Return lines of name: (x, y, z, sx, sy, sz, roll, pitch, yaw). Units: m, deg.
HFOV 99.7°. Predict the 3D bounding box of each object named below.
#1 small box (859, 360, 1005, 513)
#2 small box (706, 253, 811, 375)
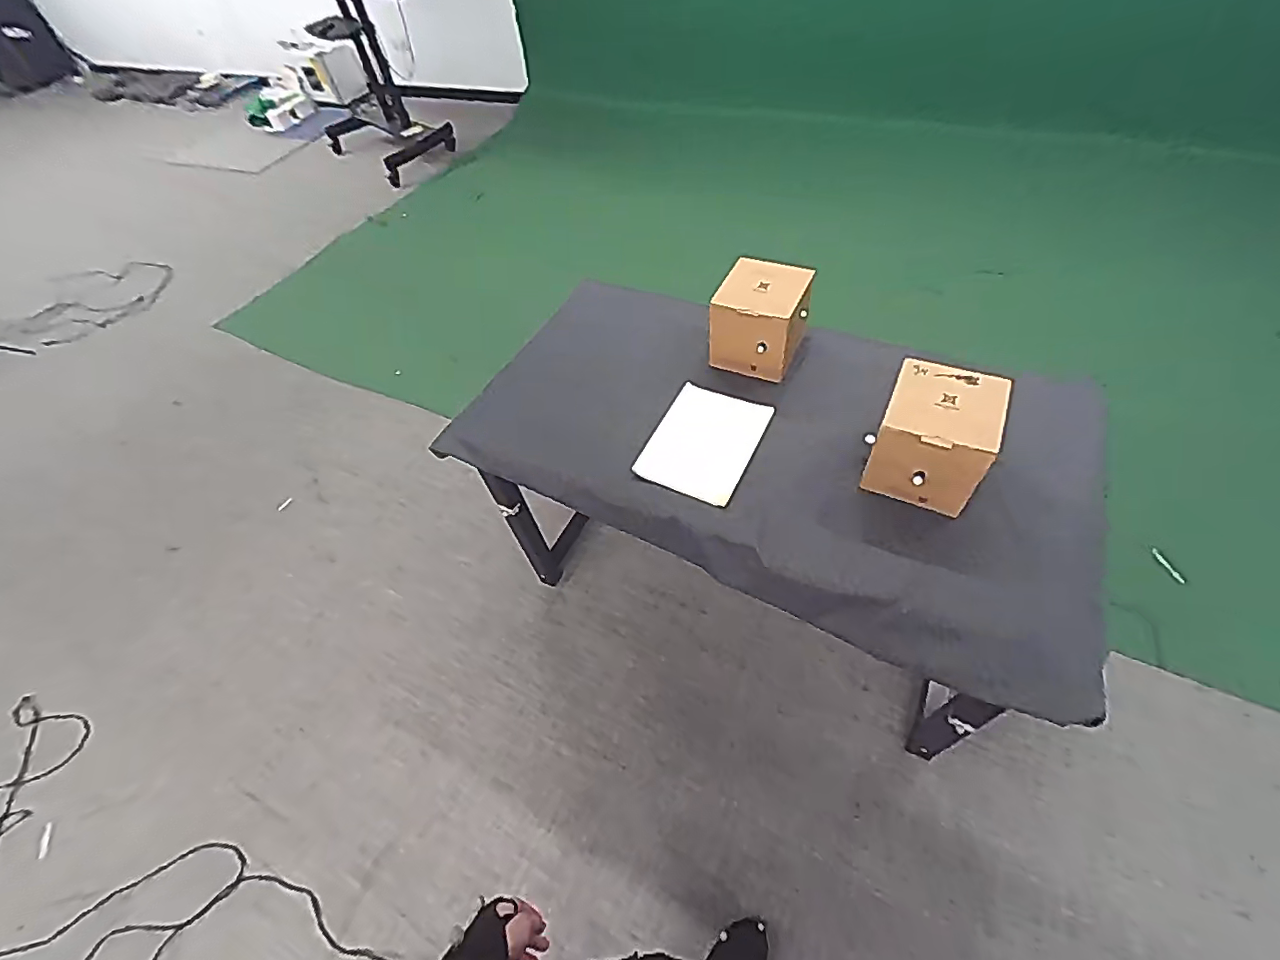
small box: (0.492, -0.071, 0.930, 0.168, 0.176, 0.179, 20, 59, 20)
small box: (0.250, -0.352, 1.153, 0.168, 0.176, 0.179, 19, 57, 19)
